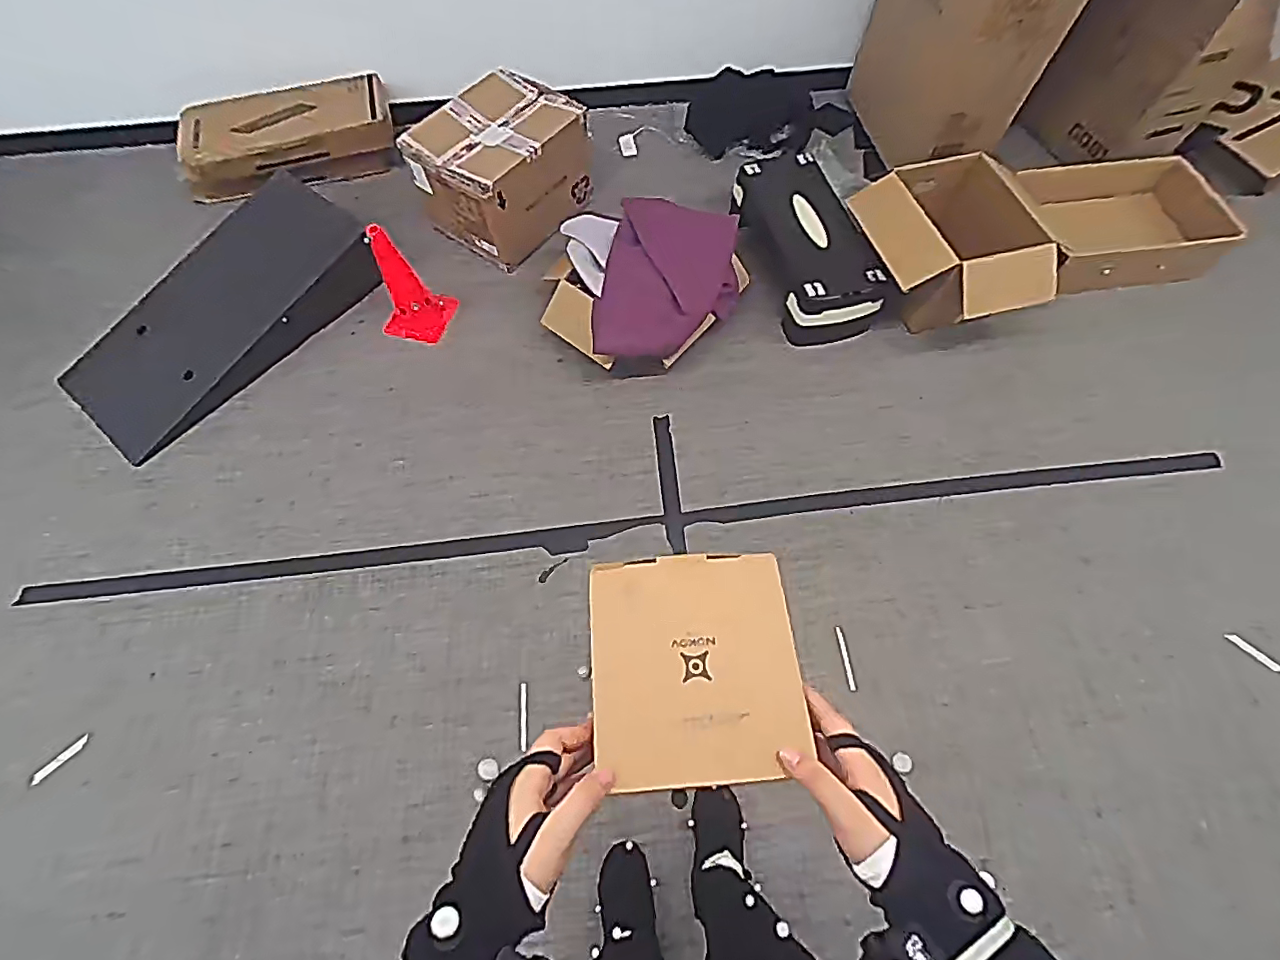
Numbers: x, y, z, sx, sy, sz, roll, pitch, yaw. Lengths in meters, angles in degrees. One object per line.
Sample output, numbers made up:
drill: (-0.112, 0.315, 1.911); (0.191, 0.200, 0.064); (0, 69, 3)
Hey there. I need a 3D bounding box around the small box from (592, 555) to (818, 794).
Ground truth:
small box: (0.042, 0.184, 0.500); (0.168, 0.176, 0.179); (-3, 62, -3)
